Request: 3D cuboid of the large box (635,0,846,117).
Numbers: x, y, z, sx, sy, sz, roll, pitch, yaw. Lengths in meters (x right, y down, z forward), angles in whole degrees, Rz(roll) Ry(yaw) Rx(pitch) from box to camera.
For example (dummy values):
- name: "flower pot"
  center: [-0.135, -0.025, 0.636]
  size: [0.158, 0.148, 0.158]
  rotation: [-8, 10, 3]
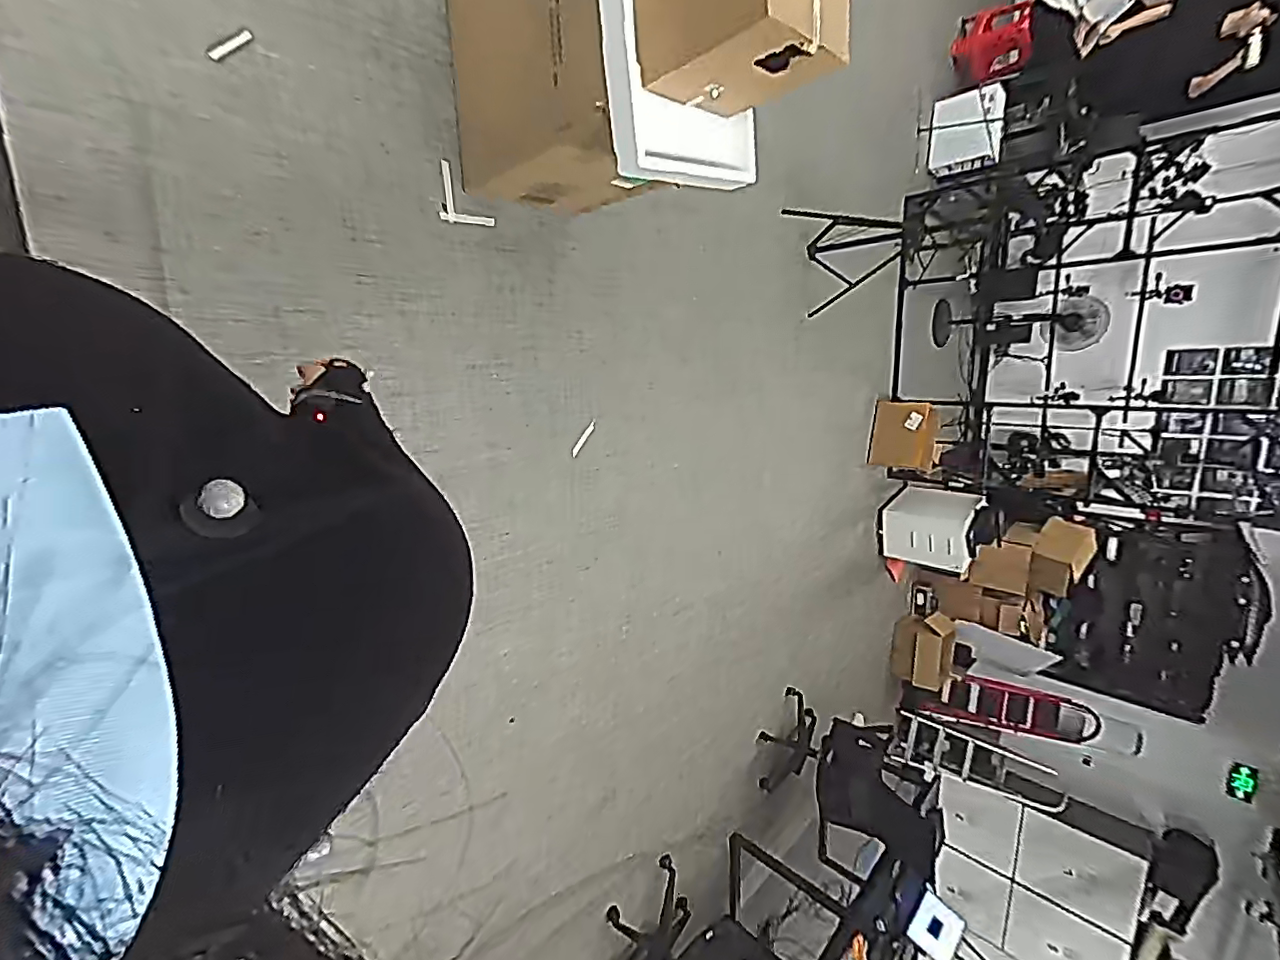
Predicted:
- name: "large box"
  center: [0.193, -1.020, 1.071]
  size: [0.320, 0.320, 0.408]
  rotation: [-20, 109, -43]
